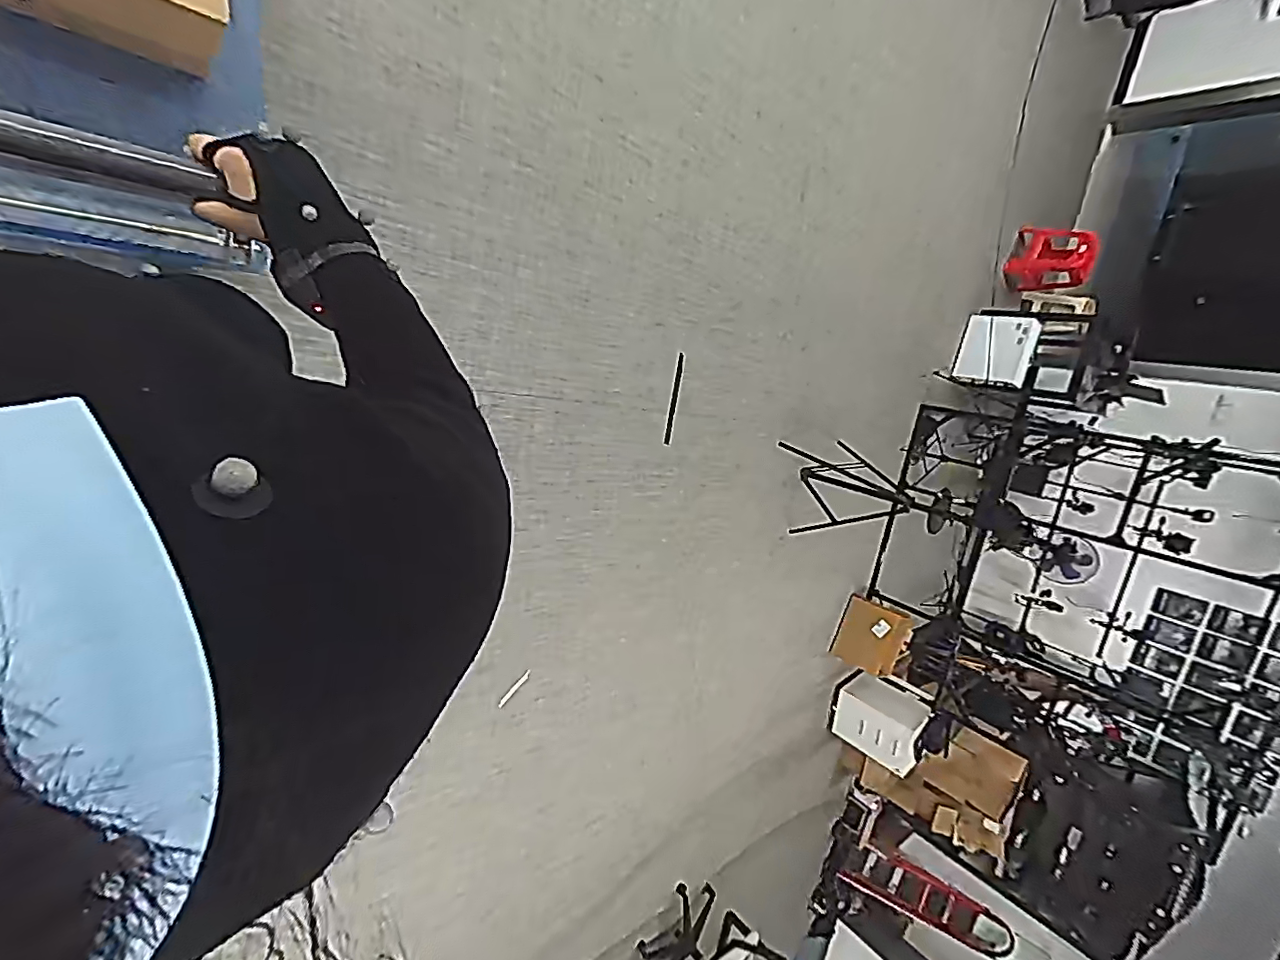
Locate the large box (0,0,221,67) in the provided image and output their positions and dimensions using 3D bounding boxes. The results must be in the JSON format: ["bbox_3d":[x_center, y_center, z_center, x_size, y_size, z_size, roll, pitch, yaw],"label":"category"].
[{"bbox_3d":[-0.786,-0.797,0.664,0.408,0.320,0.320,-4,108,-42],"label":"large box"}]
